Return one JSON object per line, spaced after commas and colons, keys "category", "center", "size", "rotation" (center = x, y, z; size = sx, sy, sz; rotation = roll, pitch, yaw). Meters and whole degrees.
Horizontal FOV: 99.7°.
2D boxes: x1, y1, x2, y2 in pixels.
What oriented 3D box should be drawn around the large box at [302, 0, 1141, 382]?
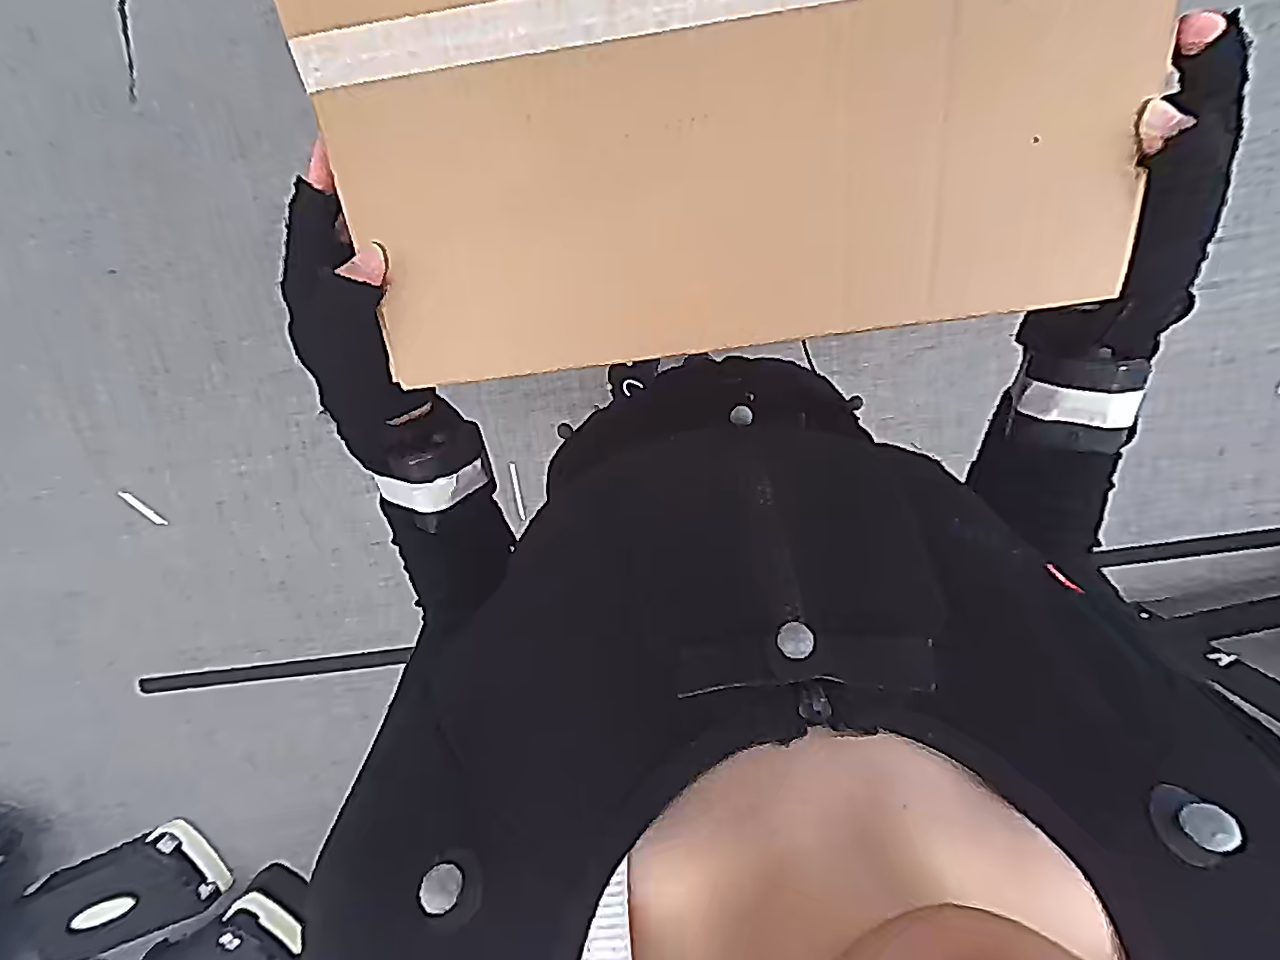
{"category": "large box", "center": [0.037, -0.279, 0.399], "size": [0.408, 0.320, 0.320], "rotation": [-7, 113, 3]}
